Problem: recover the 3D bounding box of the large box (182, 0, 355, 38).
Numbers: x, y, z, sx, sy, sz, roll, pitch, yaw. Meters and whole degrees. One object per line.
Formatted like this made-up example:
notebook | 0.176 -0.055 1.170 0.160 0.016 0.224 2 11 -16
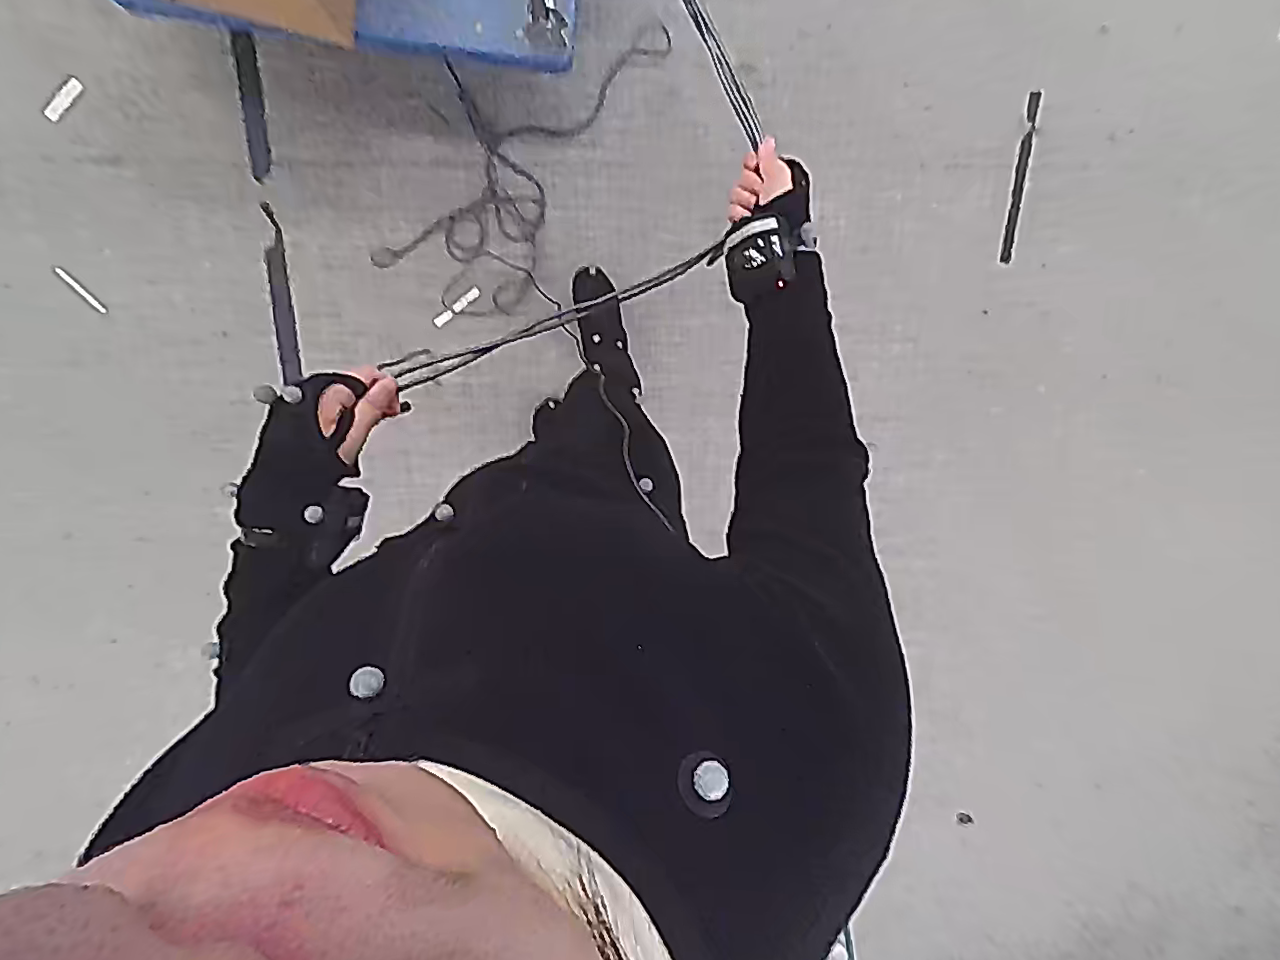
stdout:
large box | -0.703 -0.972 0.831 0.408 0.320 0.320 9 103 -7
